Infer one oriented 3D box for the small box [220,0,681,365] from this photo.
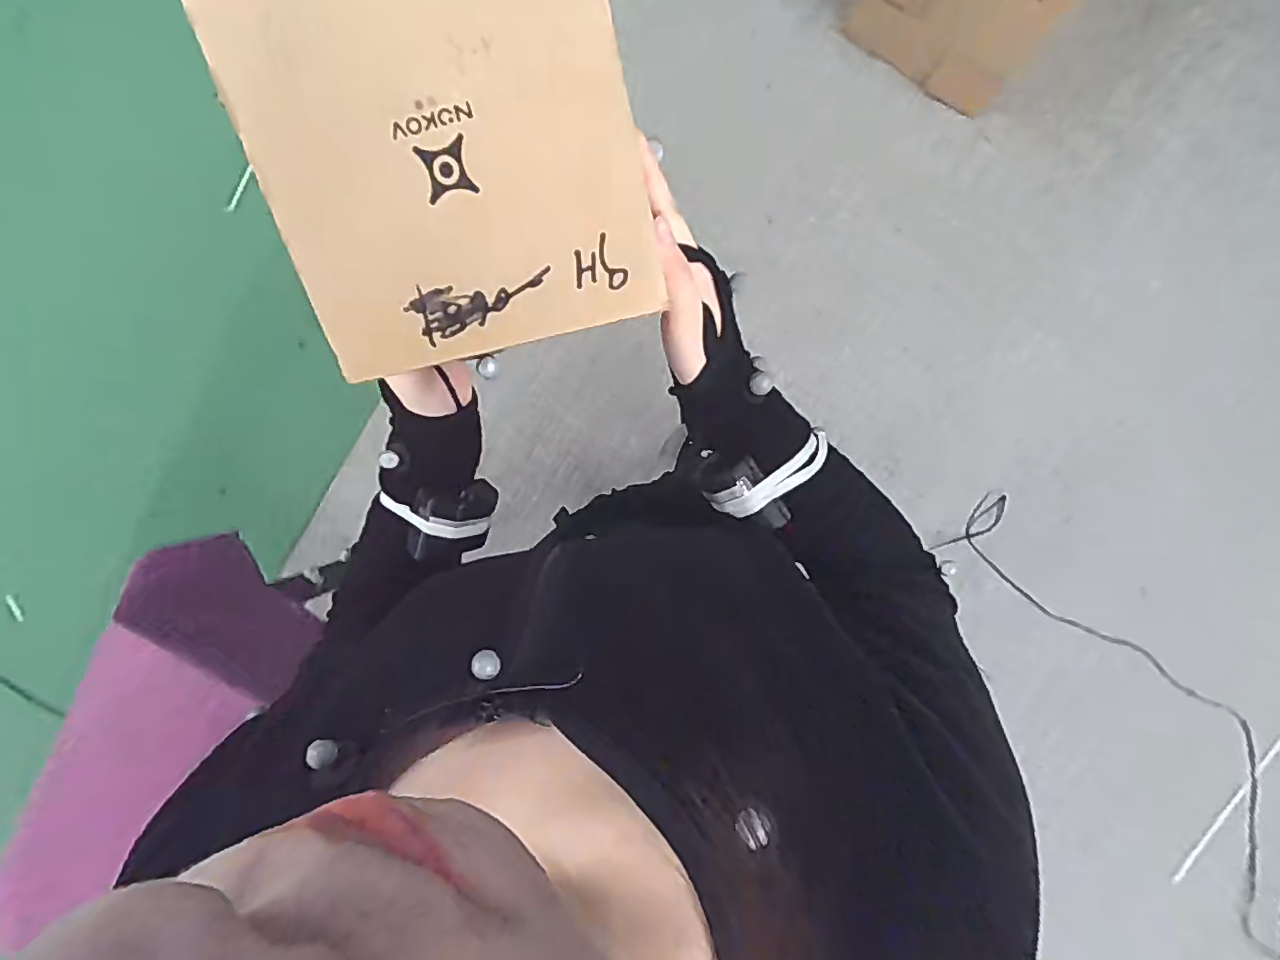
[{"bbox_3d":[-0.075,-0.176,0.305,0.168,0.176,0.179,-10,110,5],"label":"small box"}]
